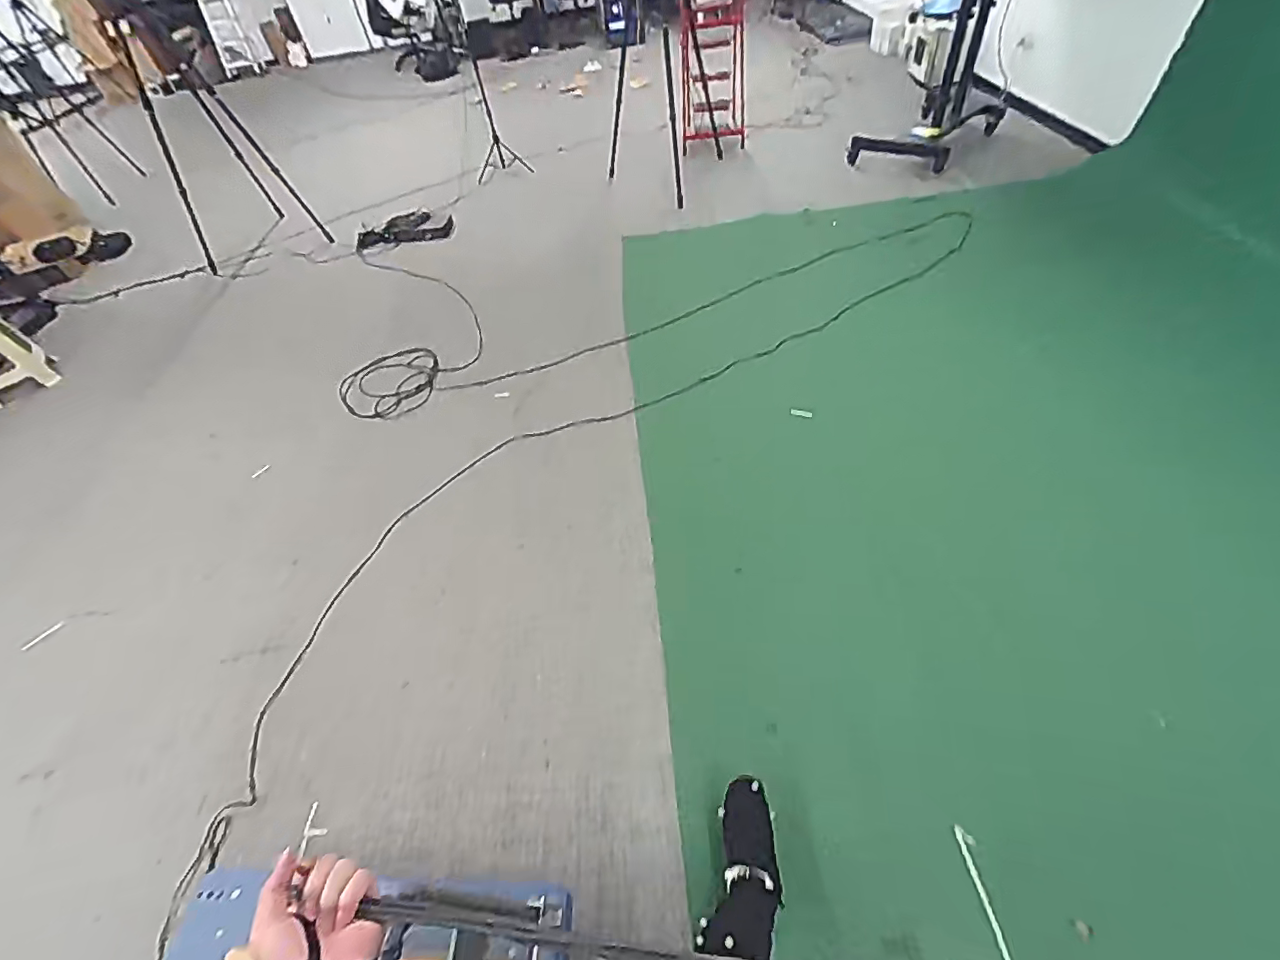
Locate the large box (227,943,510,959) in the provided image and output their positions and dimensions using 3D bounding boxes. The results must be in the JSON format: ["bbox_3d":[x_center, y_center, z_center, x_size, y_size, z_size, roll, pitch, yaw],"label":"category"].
[{"bbox_3d":[-0.473,0.984,0.900,0.408,0.320,0.320,-3,49,7],"label":"large box"}]
